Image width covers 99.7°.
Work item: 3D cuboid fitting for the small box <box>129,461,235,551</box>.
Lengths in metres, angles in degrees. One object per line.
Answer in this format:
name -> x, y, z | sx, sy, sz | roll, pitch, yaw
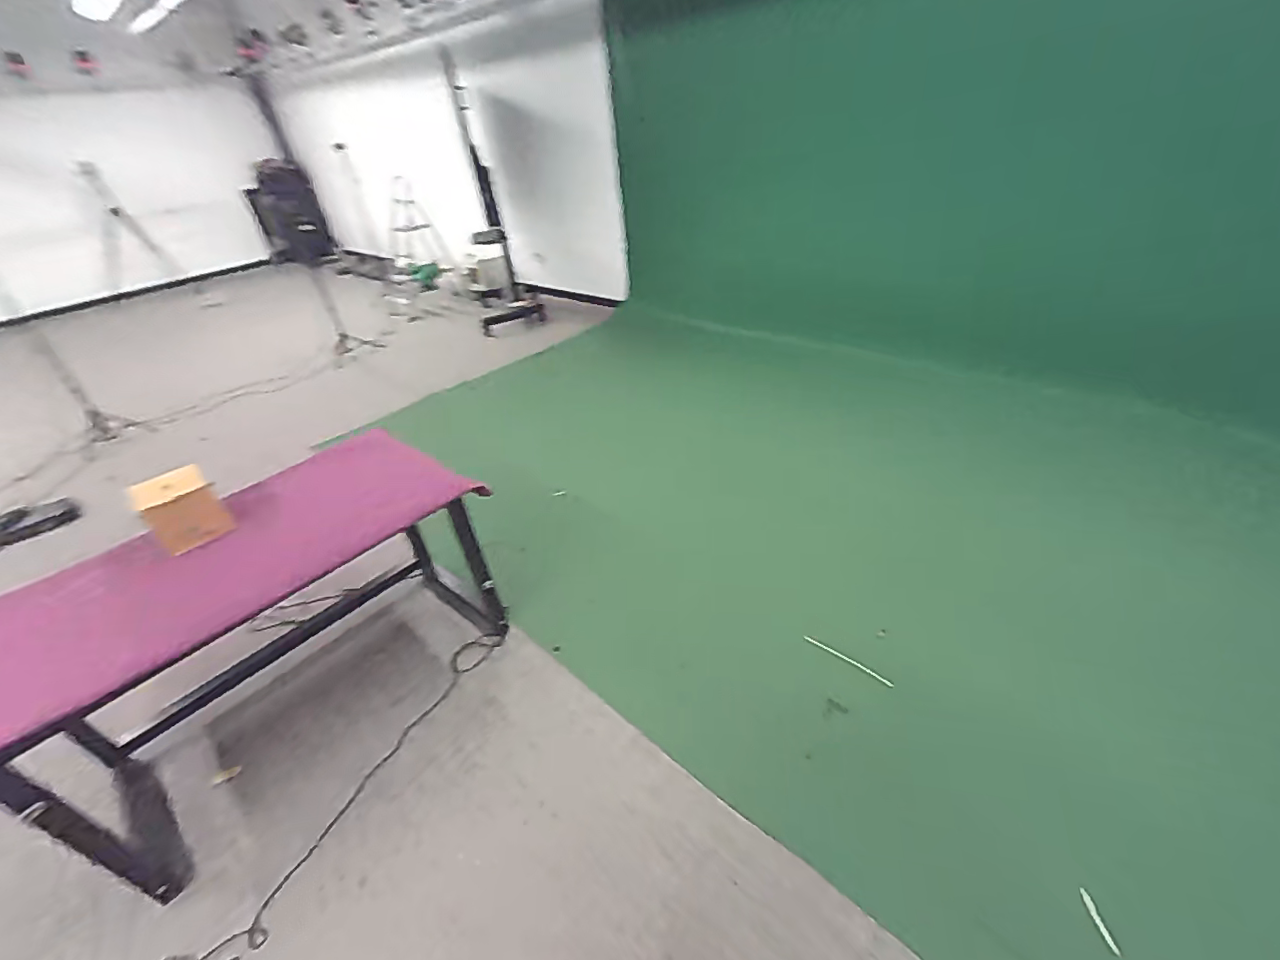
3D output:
small box -> -1.325, 0.076, 1.570 | 0.179, 0.176, 0.168 | 28, 46, 36
